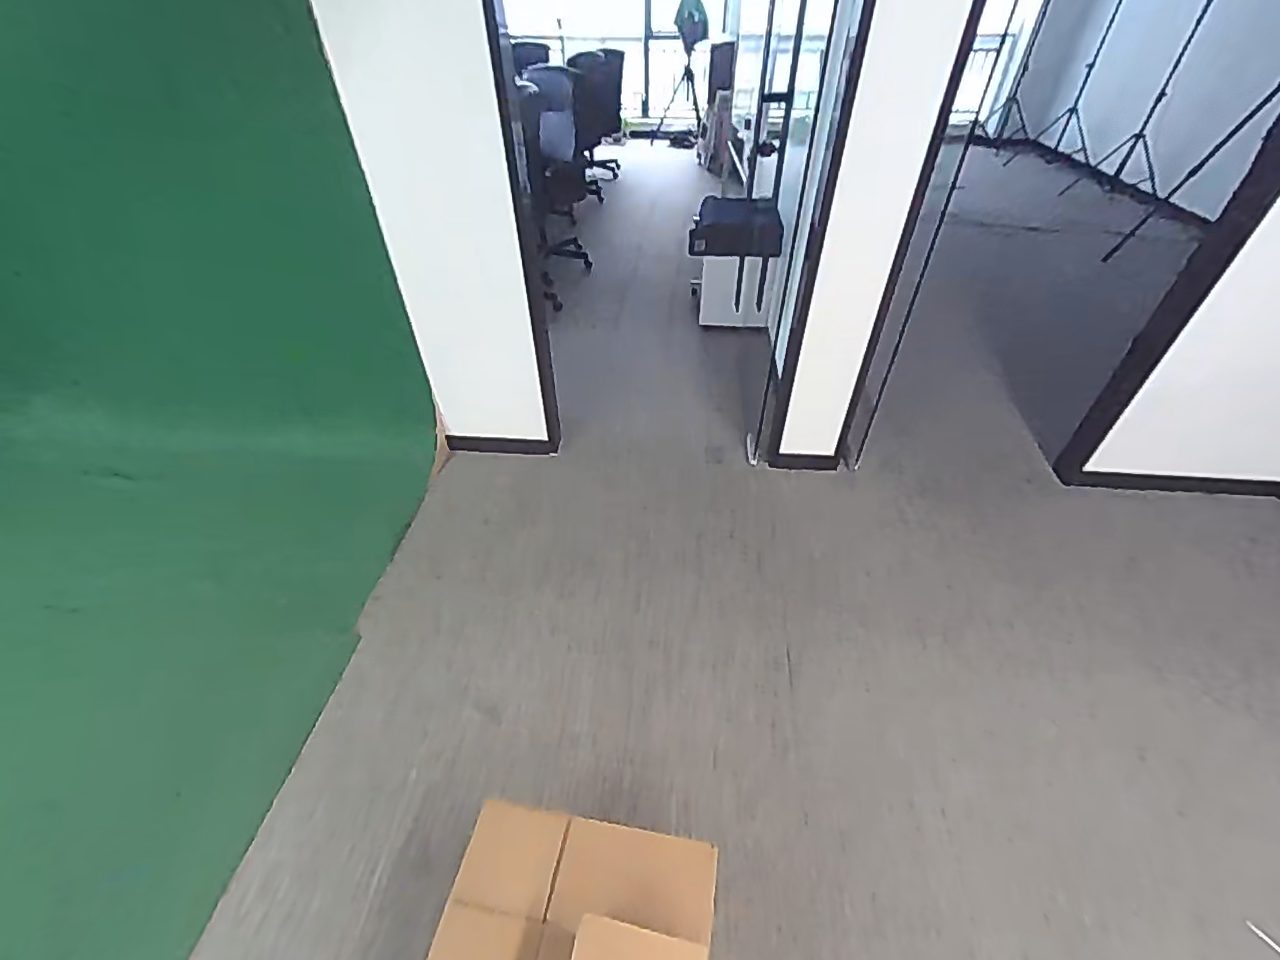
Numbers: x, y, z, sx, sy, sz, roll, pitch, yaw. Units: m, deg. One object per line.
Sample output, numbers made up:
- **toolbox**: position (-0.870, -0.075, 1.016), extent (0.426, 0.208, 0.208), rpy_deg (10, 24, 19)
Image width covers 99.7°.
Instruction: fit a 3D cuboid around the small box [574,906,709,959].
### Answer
- **small box**: position (-0.013, 0.686, 0.685), extent (0.168, 0.176, 0.179), rpy_deg (9, 42, 9)
